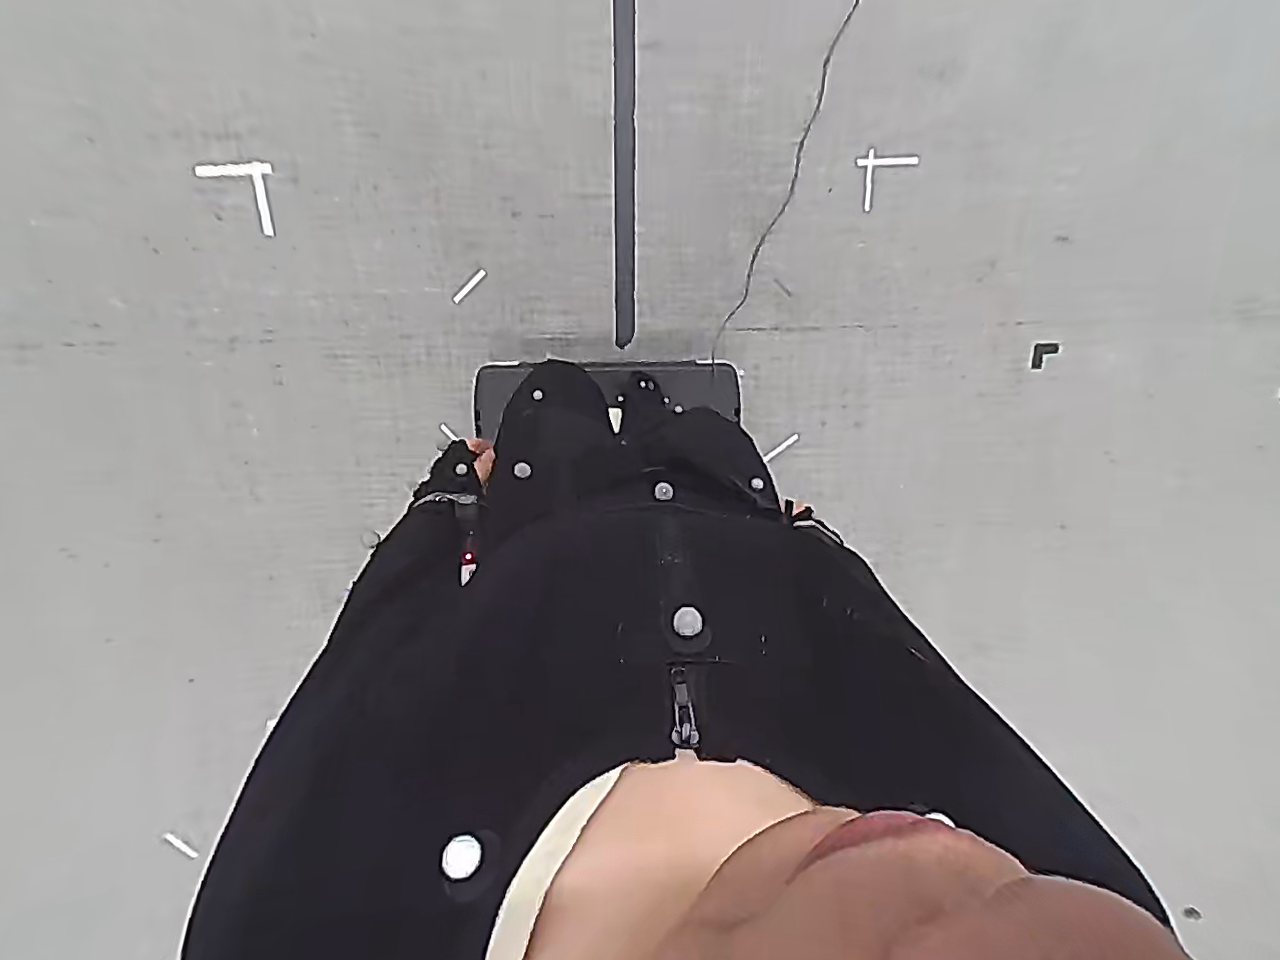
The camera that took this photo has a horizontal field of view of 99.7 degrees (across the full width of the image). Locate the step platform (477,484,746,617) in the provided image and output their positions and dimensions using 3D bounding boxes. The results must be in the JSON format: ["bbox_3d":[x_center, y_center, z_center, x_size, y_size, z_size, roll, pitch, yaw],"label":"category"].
[{"bbox_3d":[-0.070,0.182,1.410,0.684,0.204,0.286,3,101,-2],"label":"step platform"}]
